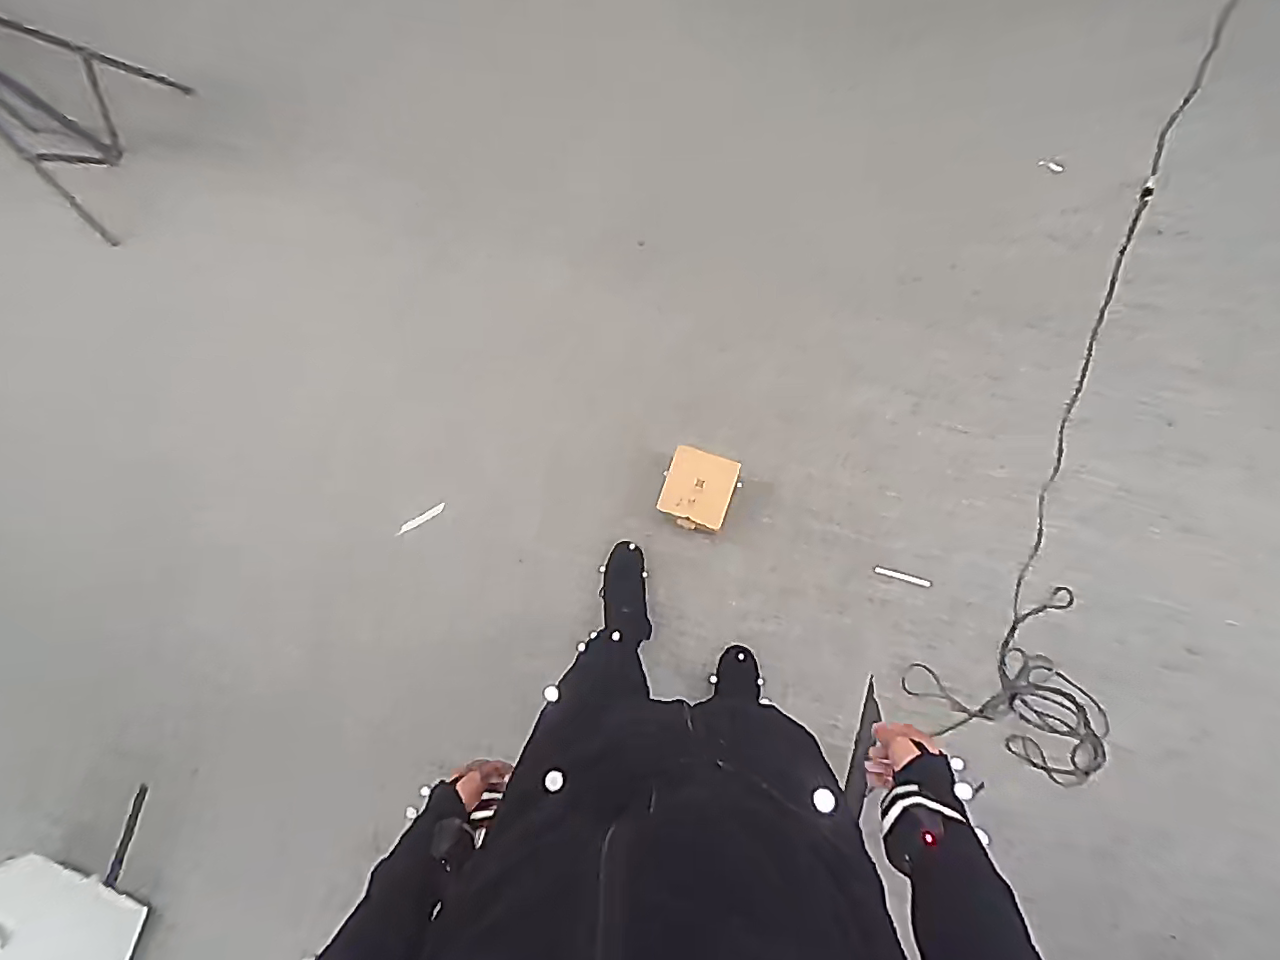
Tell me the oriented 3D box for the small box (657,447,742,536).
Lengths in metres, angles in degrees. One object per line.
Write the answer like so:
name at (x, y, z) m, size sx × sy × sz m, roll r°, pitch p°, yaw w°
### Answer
small box at (0.153, 0.036, 1.402) m, size 0.168 × 0.176 × 0.179 m, roll 19°, pitch 84°, yaw 10°
